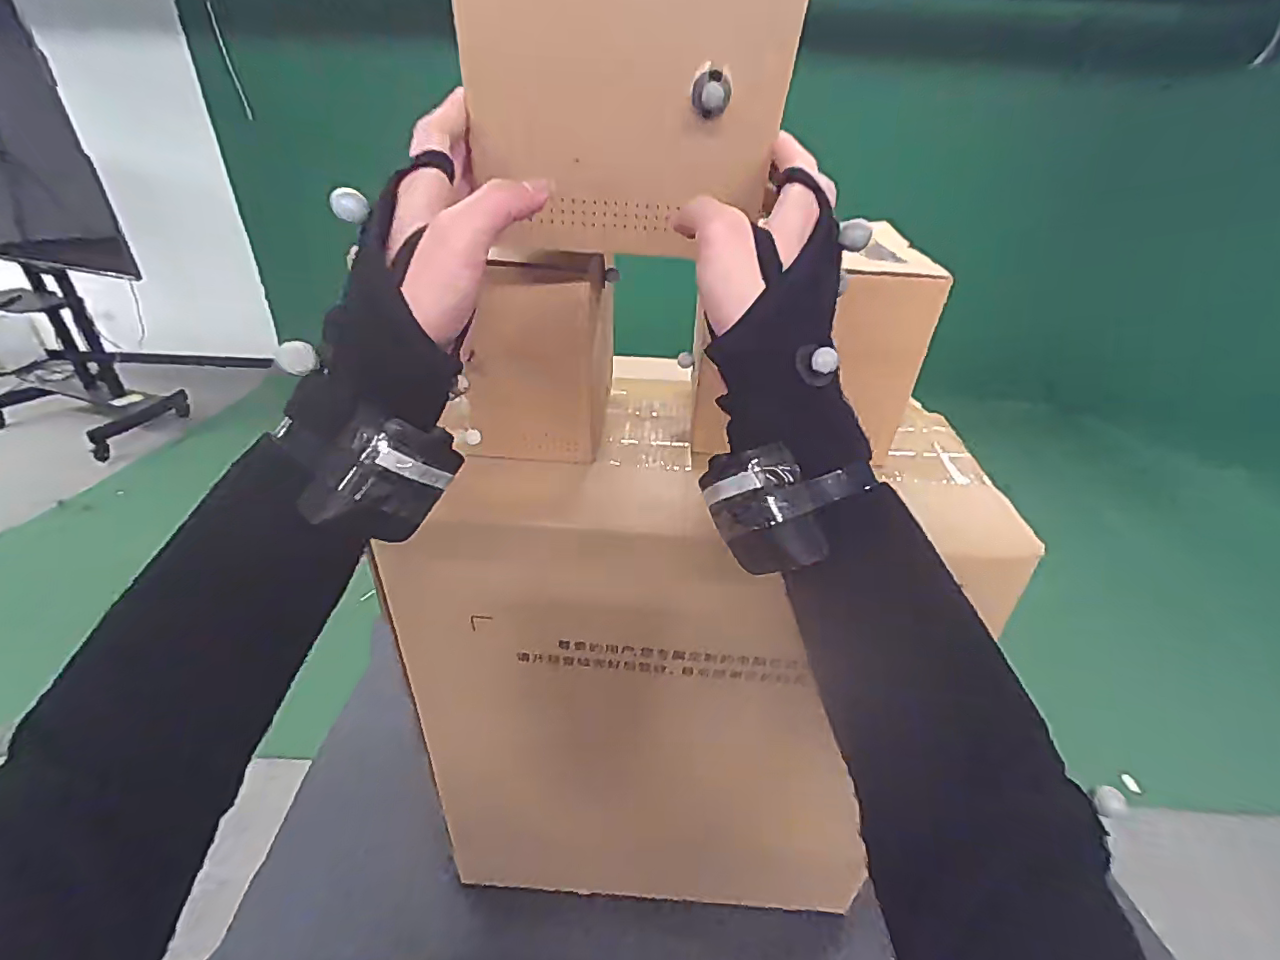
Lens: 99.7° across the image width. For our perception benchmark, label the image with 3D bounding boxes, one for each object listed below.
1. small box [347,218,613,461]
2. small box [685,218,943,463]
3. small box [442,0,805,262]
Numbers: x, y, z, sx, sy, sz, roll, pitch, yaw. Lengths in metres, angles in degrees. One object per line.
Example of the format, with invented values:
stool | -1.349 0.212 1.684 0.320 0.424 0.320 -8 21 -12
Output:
small box | -0.121 -0.130 0.493 0.179 0.176 0.168 3 37 2
small box | 0.137 -0.130 0.501 0.179 0.176 0.168 3 37 3
small box | -0.016 -0.252 0.343 0.179 0.176 0.168 -1 44 -7
